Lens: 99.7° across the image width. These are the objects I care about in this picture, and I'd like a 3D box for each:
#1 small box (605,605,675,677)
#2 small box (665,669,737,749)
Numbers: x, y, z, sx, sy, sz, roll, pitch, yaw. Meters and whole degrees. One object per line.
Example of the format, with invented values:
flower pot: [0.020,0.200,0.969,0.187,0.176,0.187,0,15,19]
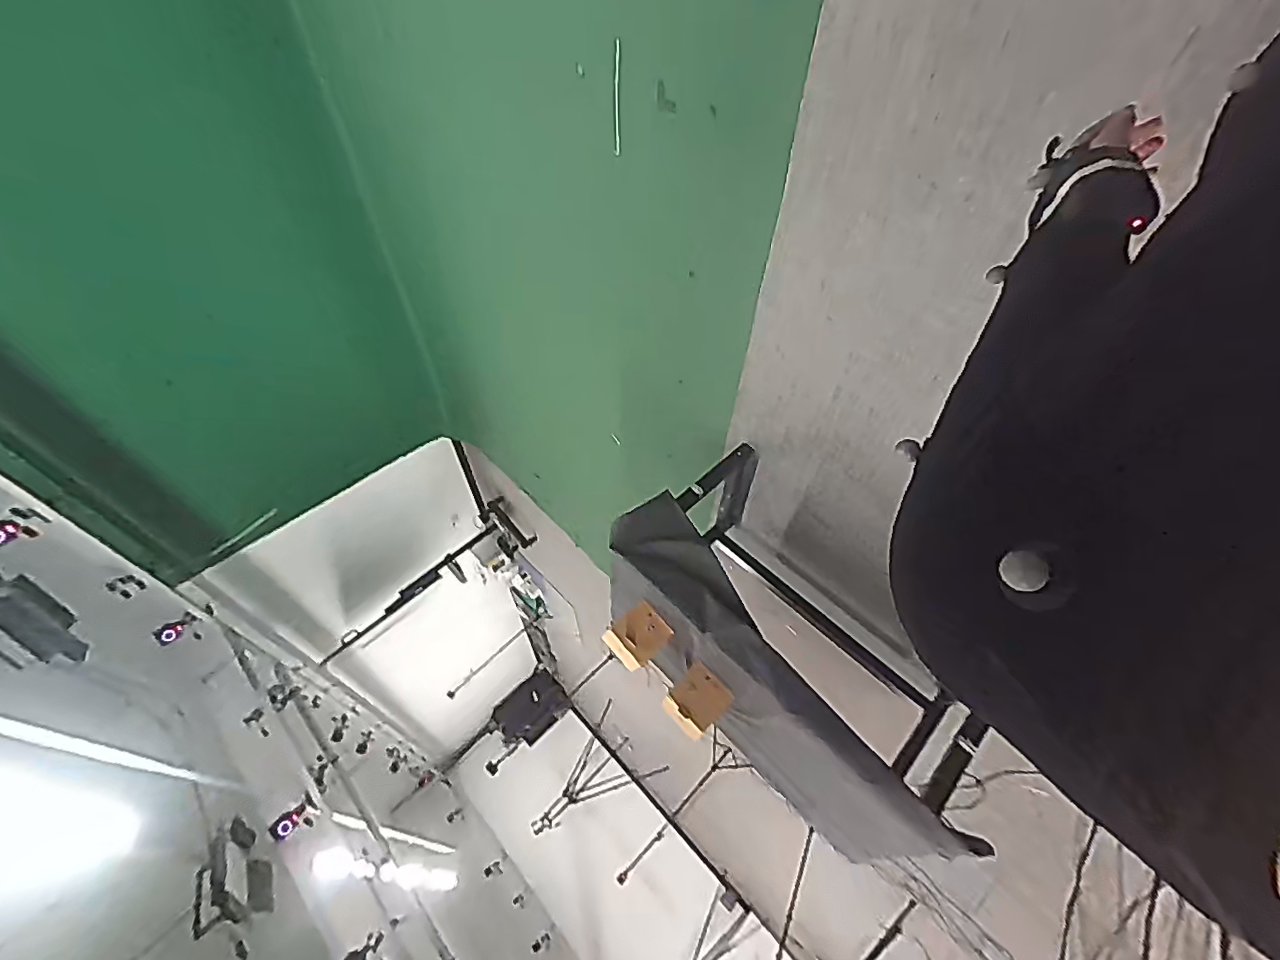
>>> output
small box: [0.001,0.569,1.910,0.168,0.176,0.179,47,153,11]
small box: [0.206,0.769,1.828,0.168,0.176,0.179,42,153,23]
